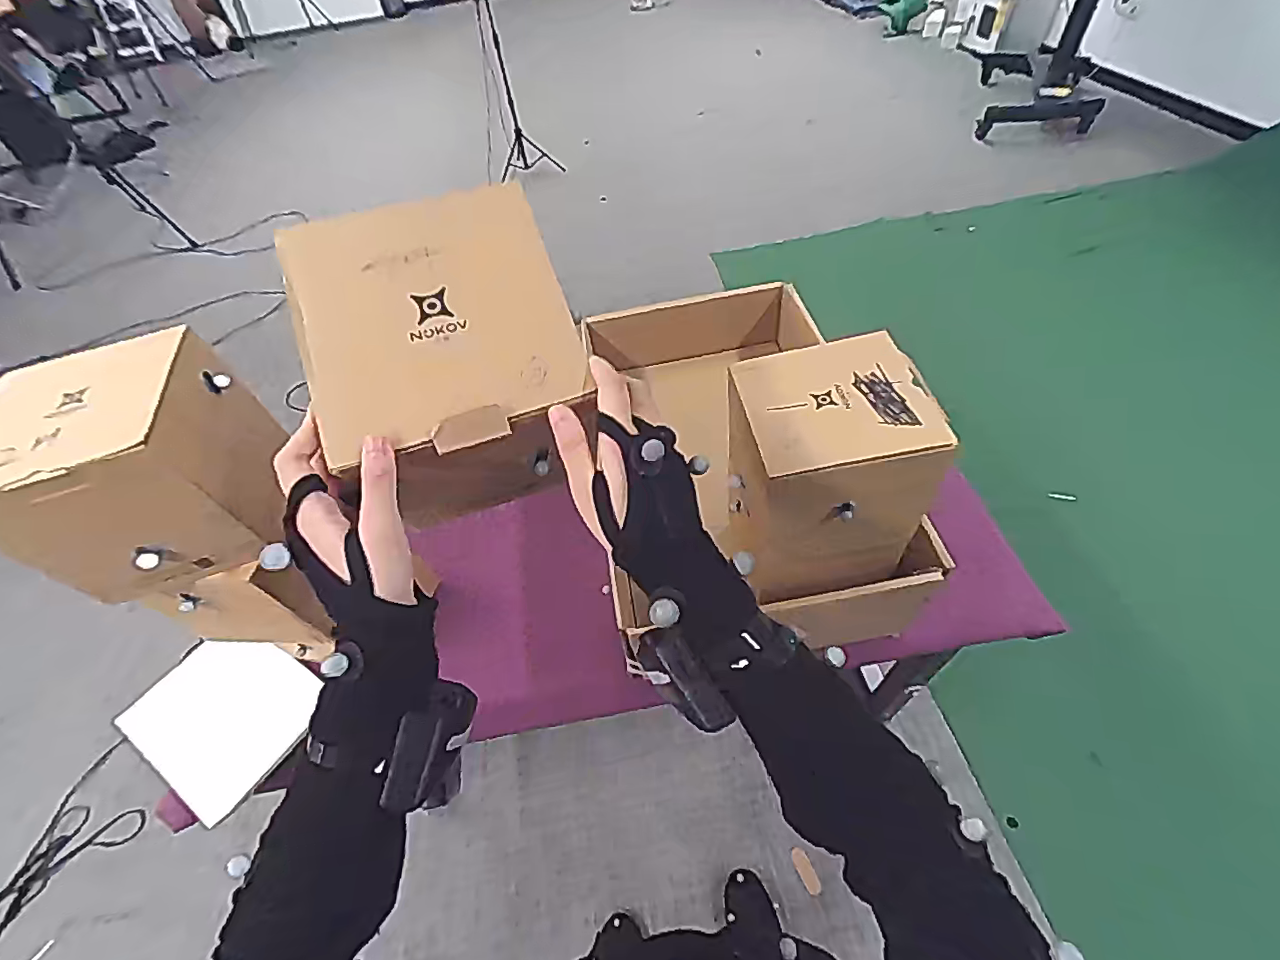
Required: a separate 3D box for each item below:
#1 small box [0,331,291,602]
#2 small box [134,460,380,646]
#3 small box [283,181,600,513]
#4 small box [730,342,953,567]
[{"bbox_3d":[-0.477,-0.011,0.531,0.168,0.176,0.179,-18,52,-7],"label":"small box"},{"bbox_3d":[-0.455,0.091,0.657,0.179,0.176,0.168,-1,52,7],"label":"small box"},{"bbox_3d":[-0.133,-0.084,0.419,0.168,0.176,0.179,-18,76,-11],"label":"small box"},{"bbox_3d":[0.201,-0.023,0.601,0.179,0.176,0.168,-11,51,2],"label":"small box"}]
